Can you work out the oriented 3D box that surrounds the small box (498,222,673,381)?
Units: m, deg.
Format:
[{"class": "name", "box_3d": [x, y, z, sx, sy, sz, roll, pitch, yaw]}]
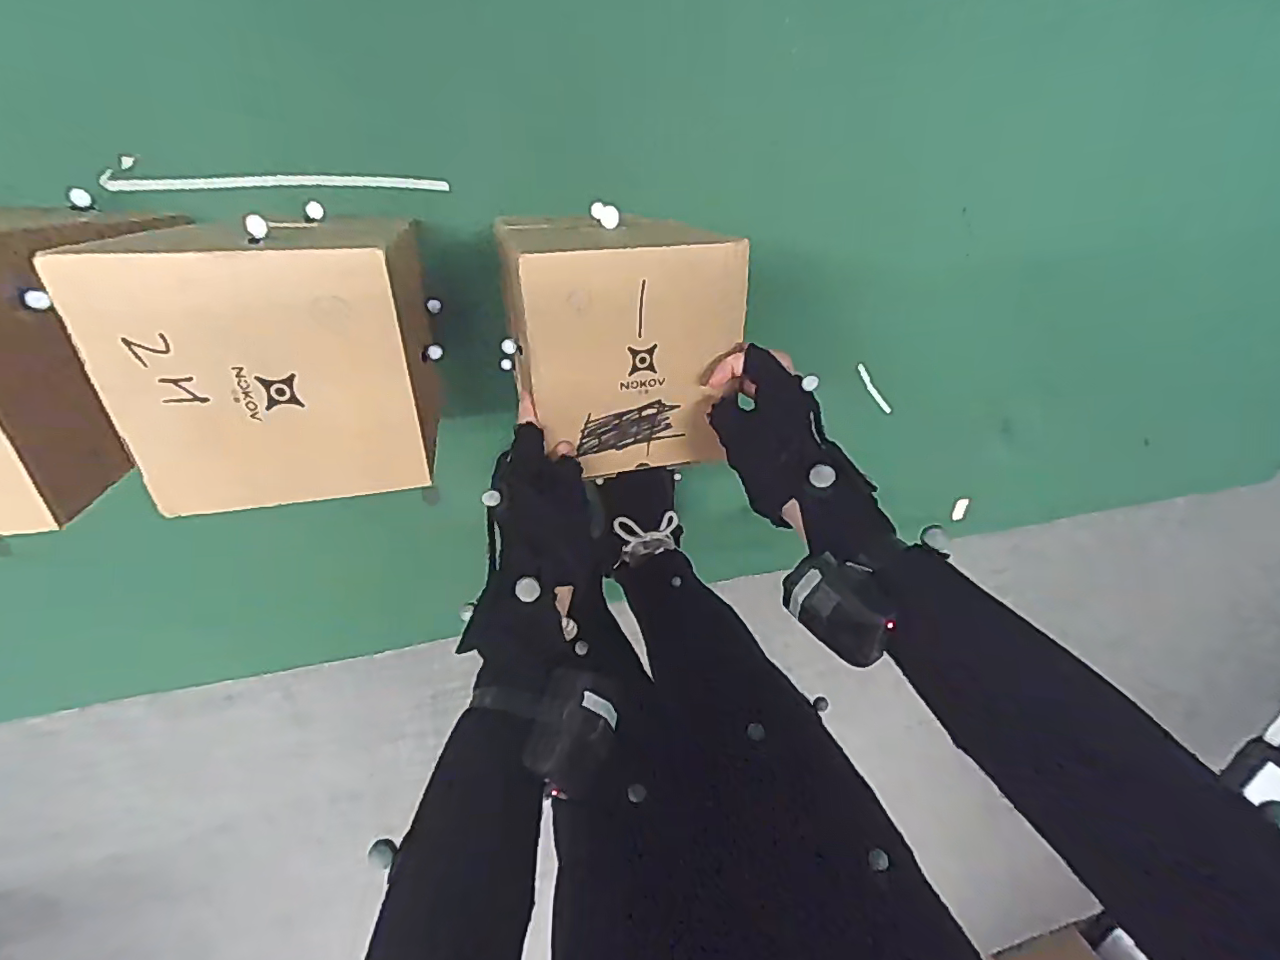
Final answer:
[{"class": "small box", "box_3d": [-0.065, -0.195, 0.618, 0.168, 0.176, 0.179, -9, 121, -13]}]

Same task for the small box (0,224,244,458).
[{"class": "small box", "box_3d": [-0.515, -0.137, 0.512, 0.168, 0.176, 0.179, -5, 119, -15]}]

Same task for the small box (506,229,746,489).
[{"class": "small box", "box_3d": [-0.022, -0.117, 0.480, 0.168, 0.176, 0.179, -10, 120, -13]}]
